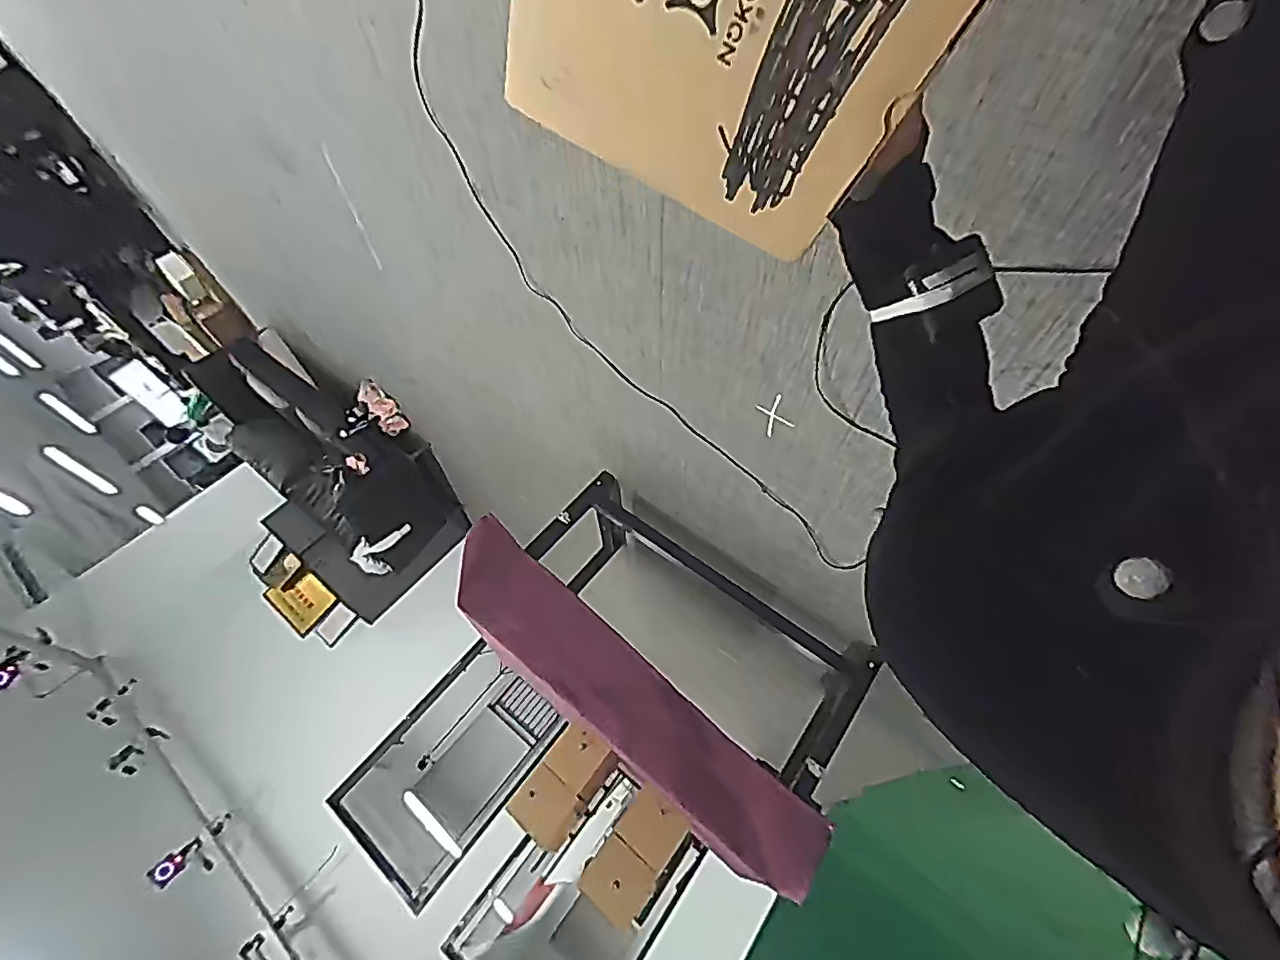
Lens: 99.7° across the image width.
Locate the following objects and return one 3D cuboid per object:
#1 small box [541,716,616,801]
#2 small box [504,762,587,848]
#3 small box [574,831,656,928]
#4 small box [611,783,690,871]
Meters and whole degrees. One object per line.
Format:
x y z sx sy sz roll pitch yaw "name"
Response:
-0.197 0.926 1.804 0.168 0.176 0.179 29 150 28 "small box"
-0.298 1.032 1.730 0.179 0.176 0.168 30 152 27 "small box"
-0.070 1.180 1.614 0.179 0.176 0.168 31 152 23 "small box"
0.034 1.073 1.683 0.179 0.176 0.168 32 153 24 "small box"
